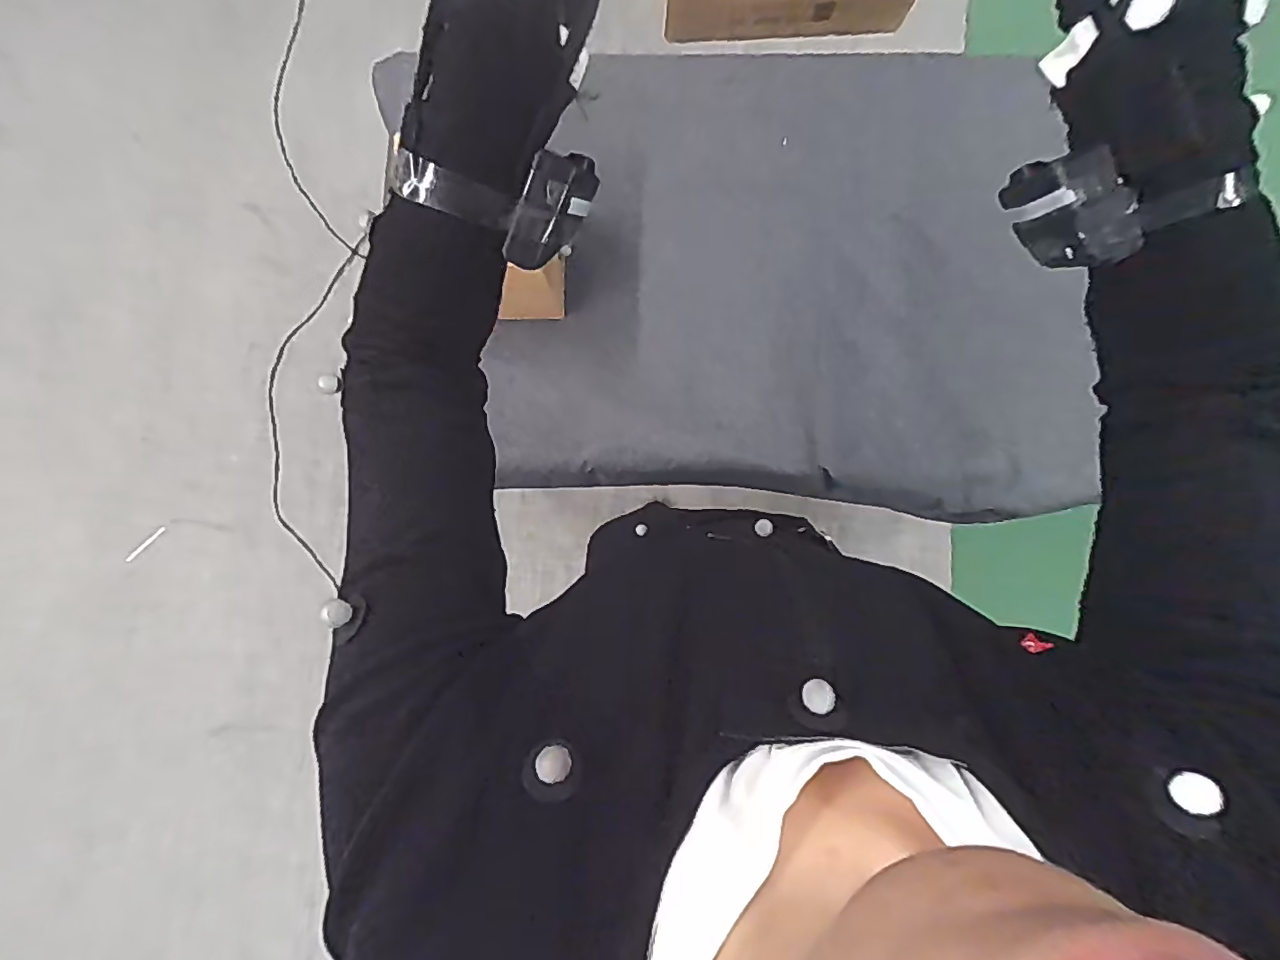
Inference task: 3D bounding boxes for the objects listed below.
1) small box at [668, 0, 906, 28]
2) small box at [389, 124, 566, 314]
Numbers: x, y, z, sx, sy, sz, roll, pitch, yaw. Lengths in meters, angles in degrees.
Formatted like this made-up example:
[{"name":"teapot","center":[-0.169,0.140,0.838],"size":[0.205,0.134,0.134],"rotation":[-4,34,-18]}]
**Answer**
[{"name":"small box","center":[0.096,-0.394,0.297],"size":[0.168,0.176,0.179],"rotation":[-3,89,-1]},{"name":"small box","center":[-0.198,-0.324,0.701],"size":[0.179,0.176,0.168],"rotation":[0,87,1]}]
